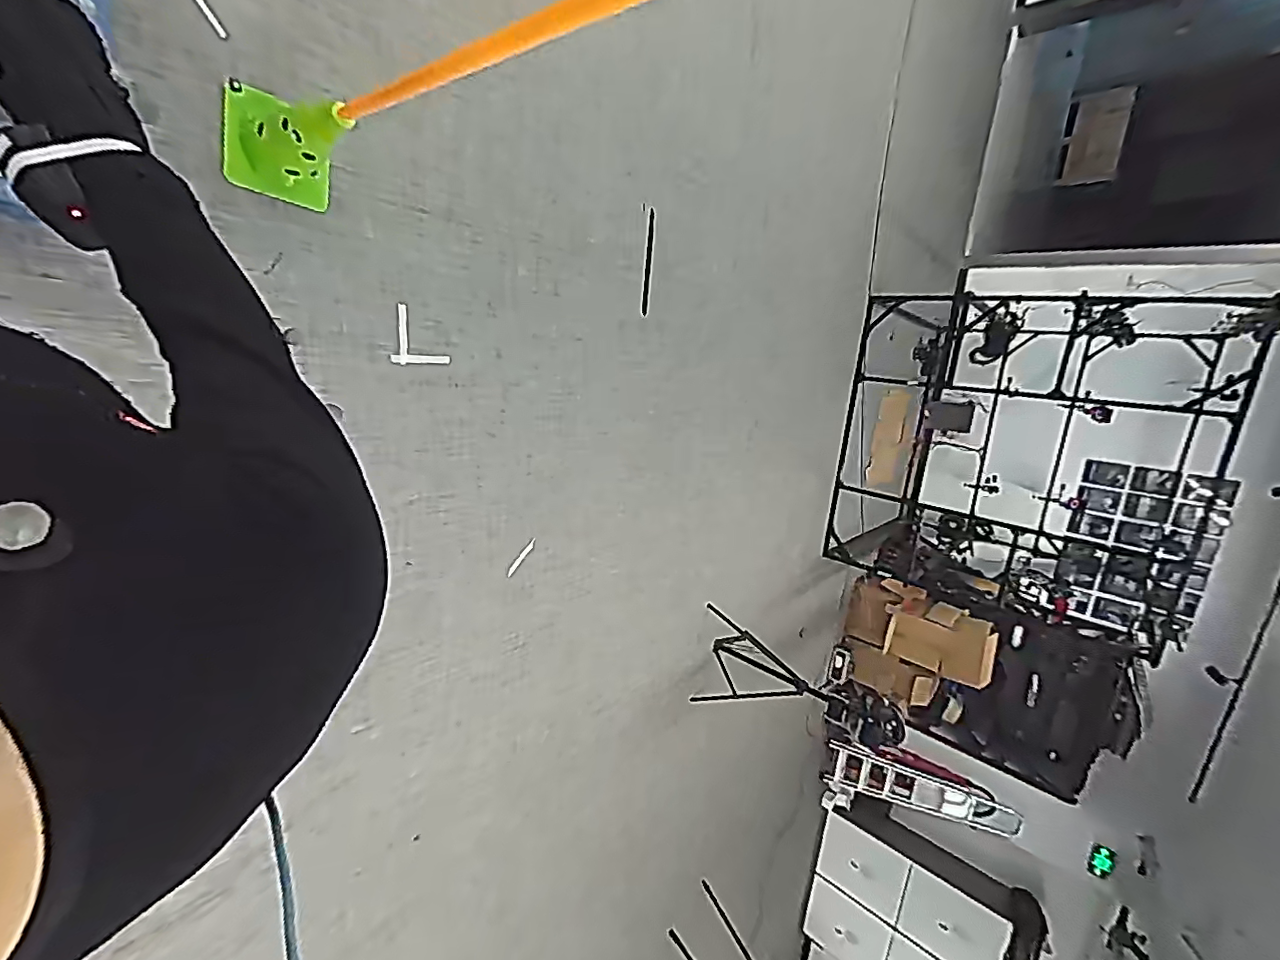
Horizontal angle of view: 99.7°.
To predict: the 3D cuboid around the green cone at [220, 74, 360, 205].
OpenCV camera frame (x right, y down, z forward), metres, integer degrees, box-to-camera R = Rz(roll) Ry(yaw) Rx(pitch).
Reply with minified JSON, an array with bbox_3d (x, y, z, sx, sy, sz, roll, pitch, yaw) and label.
[{"bbox_3d":[-0.660,-0.694,1.072,0.202,0.368,0.200,-4,106,-51],"label":"green cone"}]
